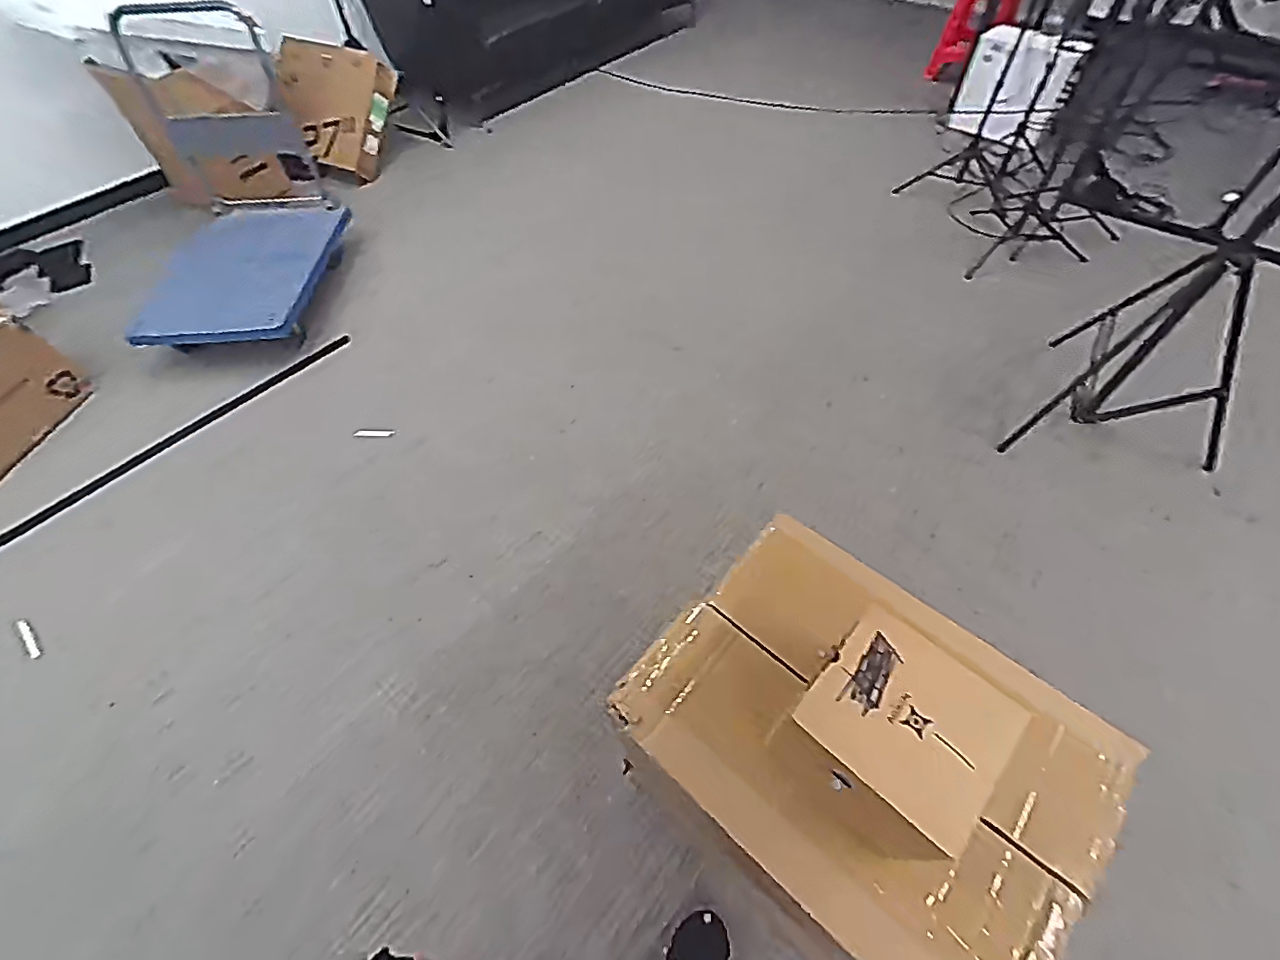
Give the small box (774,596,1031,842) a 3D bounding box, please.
[{"bbox_3d":[0.271,0.269,0.600,0.179,0.176,0.168,37,65,25],"label":"small box"}]
